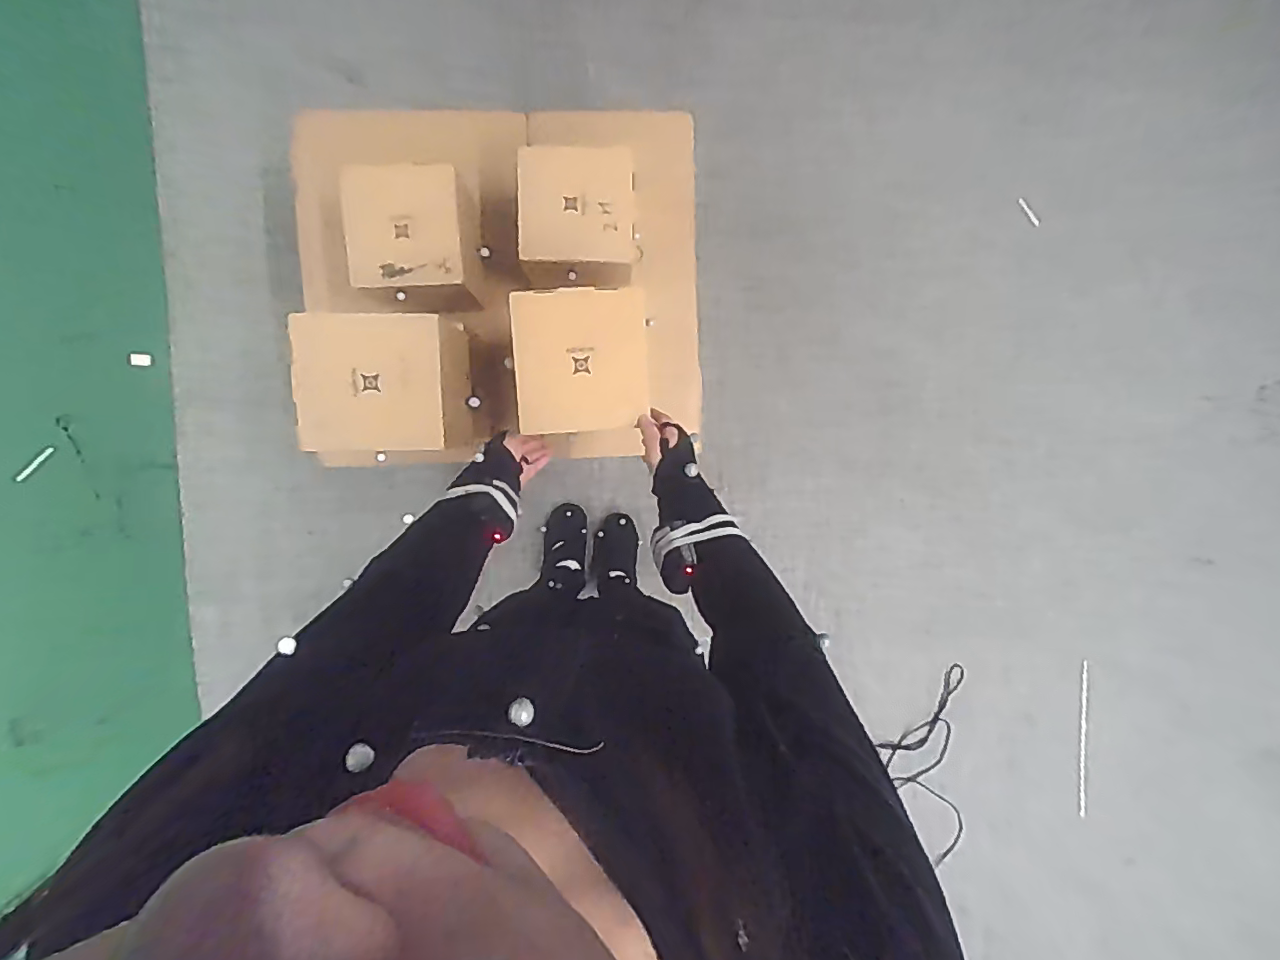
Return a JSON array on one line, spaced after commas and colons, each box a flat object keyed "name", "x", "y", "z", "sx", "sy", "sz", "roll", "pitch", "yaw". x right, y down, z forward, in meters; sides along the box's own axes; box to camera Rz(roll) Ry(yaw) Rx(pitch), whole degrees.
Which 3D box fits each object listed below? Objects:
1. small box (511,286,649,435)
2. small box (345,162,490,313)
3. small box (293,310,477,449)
[{"name": "small box", "x": -0.075, "y": -0.154, "z": 0.743, "sx": 0.168, "sy": 0.176, "sz": 0.179, "roll": -3, "pitch": 95, "yaw": -2}, {"name": "small box", "x": -0.346, "y": -0.379, "z": 0.871, "sx": 0.168, "sy": 0.176, "sz": 0.179, "roll": -3, "pitch": 94, "yaw": -2}, {"name": "small box", "x": -0.330, "y": -0.127, "z": 0.730, "sx": 0.179, "sy": 0.176, "sz": 0.168, "roll": 0, "pitch": 96, "yaw": -4}]
